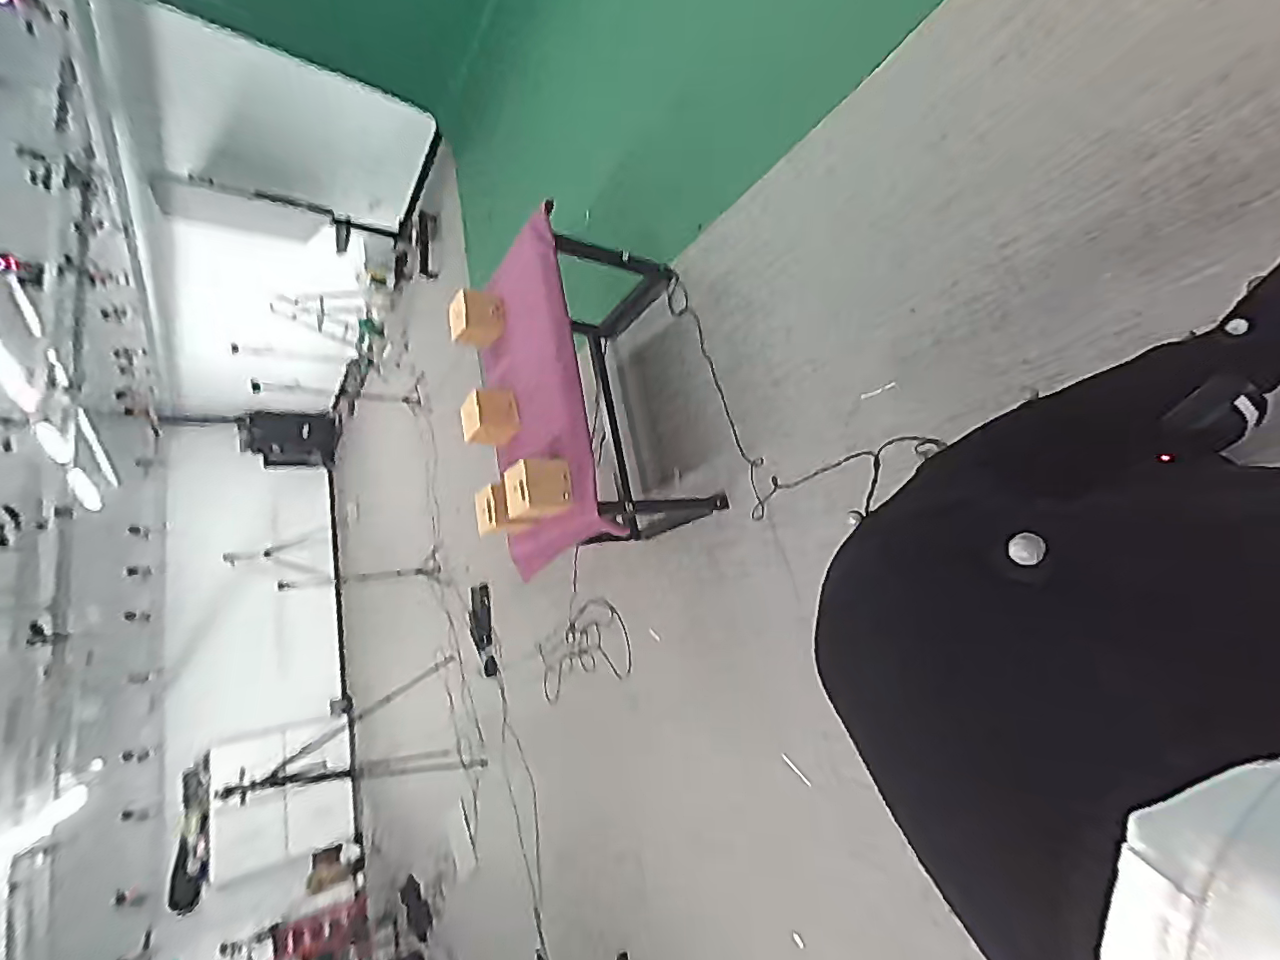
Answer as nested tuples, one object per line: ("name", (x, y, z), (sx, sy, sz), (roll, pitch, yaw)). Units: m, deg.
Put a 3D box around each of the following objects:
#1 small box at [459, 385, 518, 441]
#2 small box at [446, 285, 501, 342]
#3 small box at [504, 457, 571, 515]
("small box", (-0.616, -0.265, 2.199), (0.179, 0.176, 0.168), (-33, 65, 46))
("small box", (-0.707, -0.698, 2.295), (0.179, 0.176, 0.168), (-18, 78, 50))
("small box", (-0.347, 0.019, 1.858), (0.179, 0.176, 0.168), (-24, 72, 52))
